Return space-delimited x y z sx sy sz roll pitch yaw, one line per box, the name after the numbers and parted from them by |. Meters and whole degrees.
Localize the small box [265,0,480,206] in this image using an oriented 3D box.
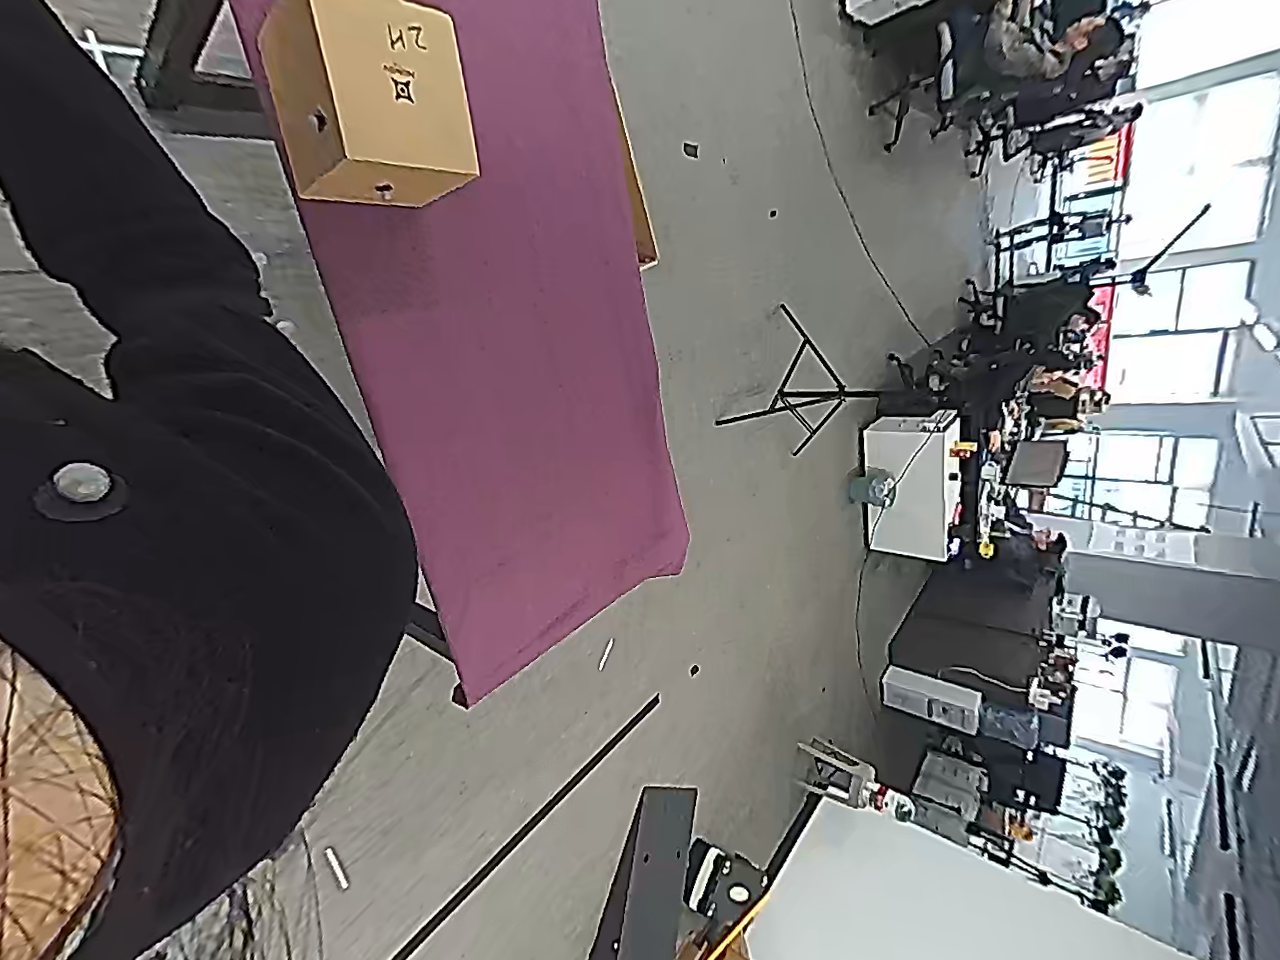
-0.325 -0.452 0.663 0.168 0.176 0.179 -23 112 -44 | small box
